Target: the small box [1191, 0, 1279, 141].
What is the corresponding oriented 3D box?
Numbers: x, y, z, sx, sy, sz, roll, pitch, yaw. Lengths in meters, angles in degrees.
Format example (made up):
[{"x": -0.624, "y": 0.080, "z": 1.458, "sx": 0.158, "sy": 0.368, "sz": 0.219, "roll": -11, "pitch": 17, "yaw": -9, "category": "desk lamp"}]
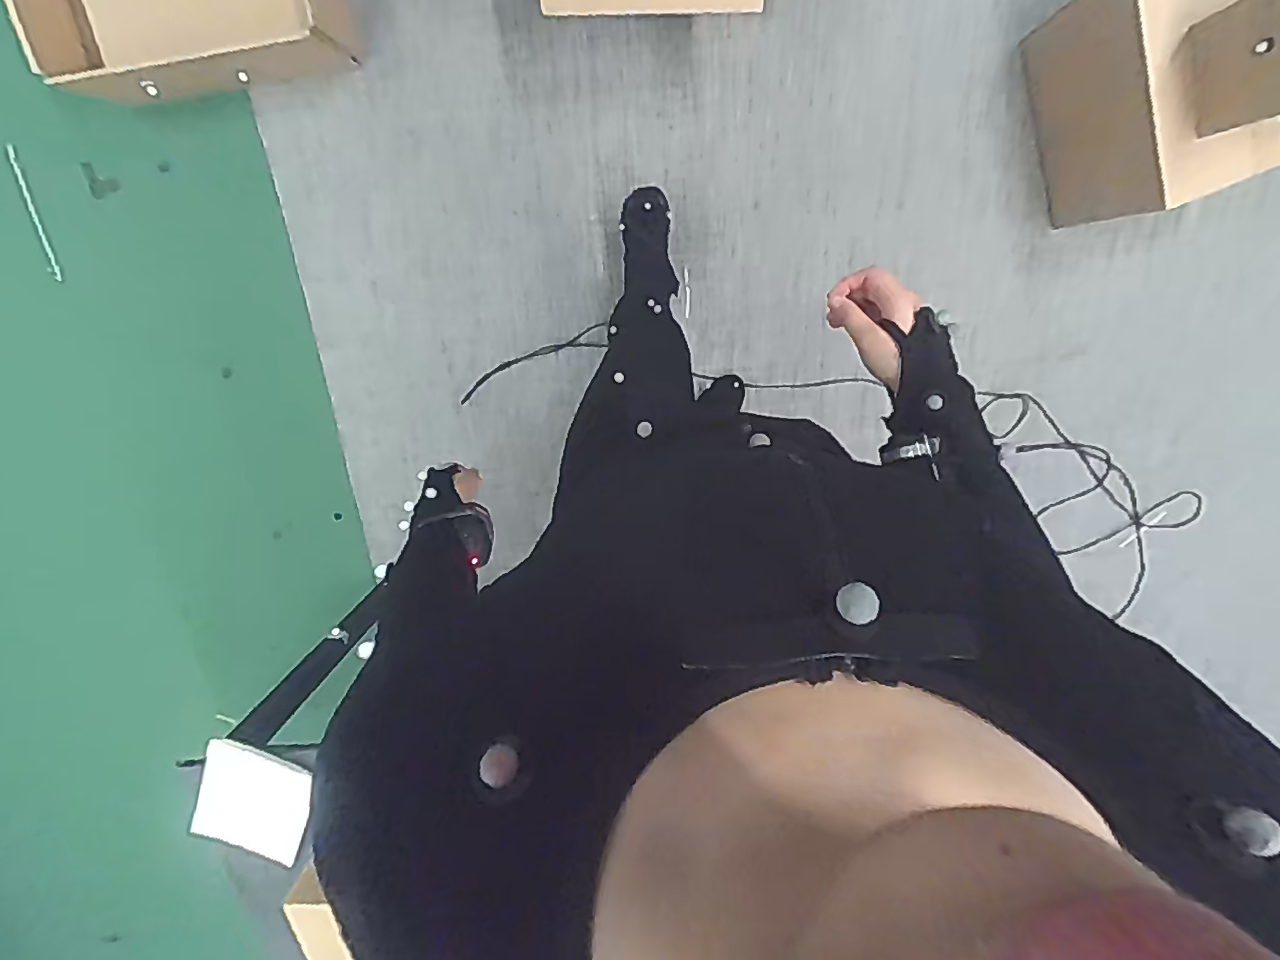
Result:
[{"x": 0.994, "y": -0.655, "z": 0.816, "sx": 0.168, "sy": 0.176, "sz": 0.179, "roll": -20, "pitch": 106, "yaw": 12, "category": "small box"}]
